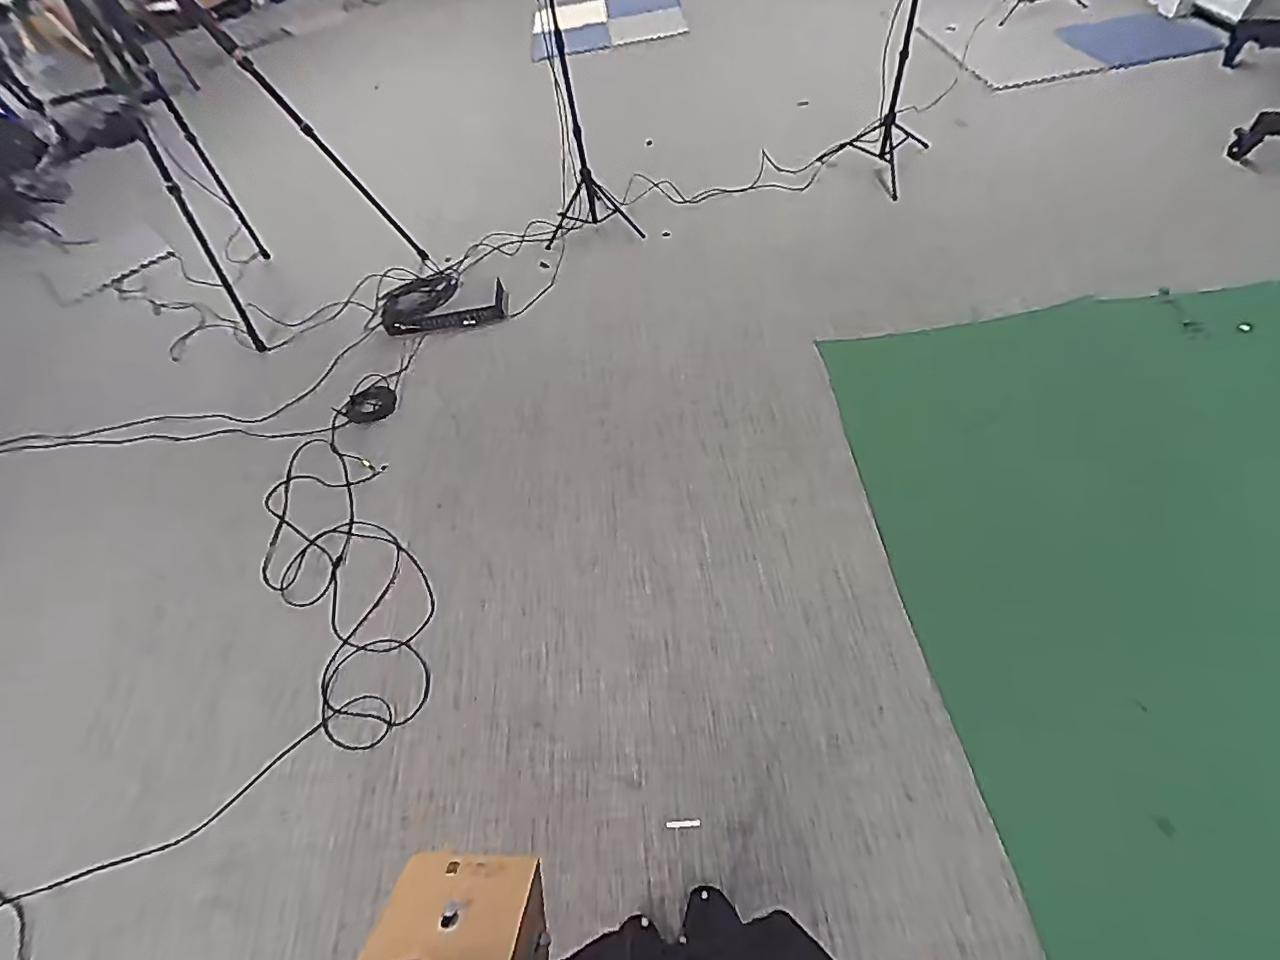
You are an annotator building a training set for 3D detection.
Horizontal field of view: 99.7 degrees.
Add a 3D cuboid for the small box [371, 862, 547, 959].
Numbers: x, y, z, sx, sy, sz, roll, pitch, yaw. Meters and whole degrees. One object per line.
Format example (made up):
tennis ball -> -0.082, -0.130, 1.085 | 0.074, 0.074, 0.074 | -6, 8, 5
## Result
small box -> -0.208, 0.579, 0.622 | 0.168, 0.179, 0.176 | -1, 15, 3
